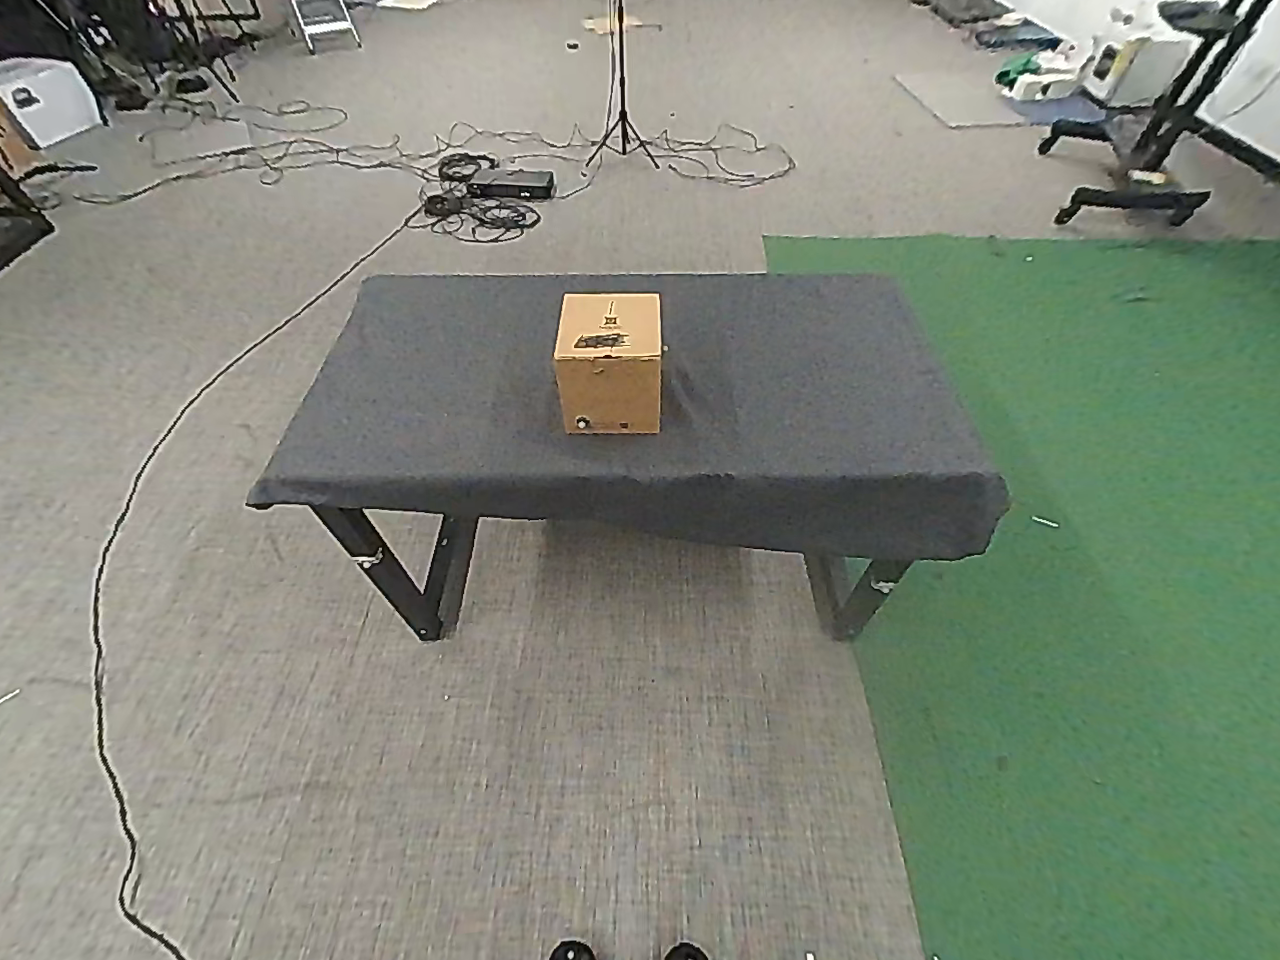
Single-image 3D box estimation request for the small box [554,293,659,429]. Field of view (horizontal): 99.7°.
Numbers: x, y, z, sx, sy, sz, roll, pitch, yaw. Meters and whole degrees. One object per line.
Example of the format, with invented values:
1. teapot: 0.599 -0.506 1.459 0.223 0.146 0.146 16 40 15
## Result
1. small box: -0.050 -0.204 0.943 0.168 0.176 0.179 1 50 0
